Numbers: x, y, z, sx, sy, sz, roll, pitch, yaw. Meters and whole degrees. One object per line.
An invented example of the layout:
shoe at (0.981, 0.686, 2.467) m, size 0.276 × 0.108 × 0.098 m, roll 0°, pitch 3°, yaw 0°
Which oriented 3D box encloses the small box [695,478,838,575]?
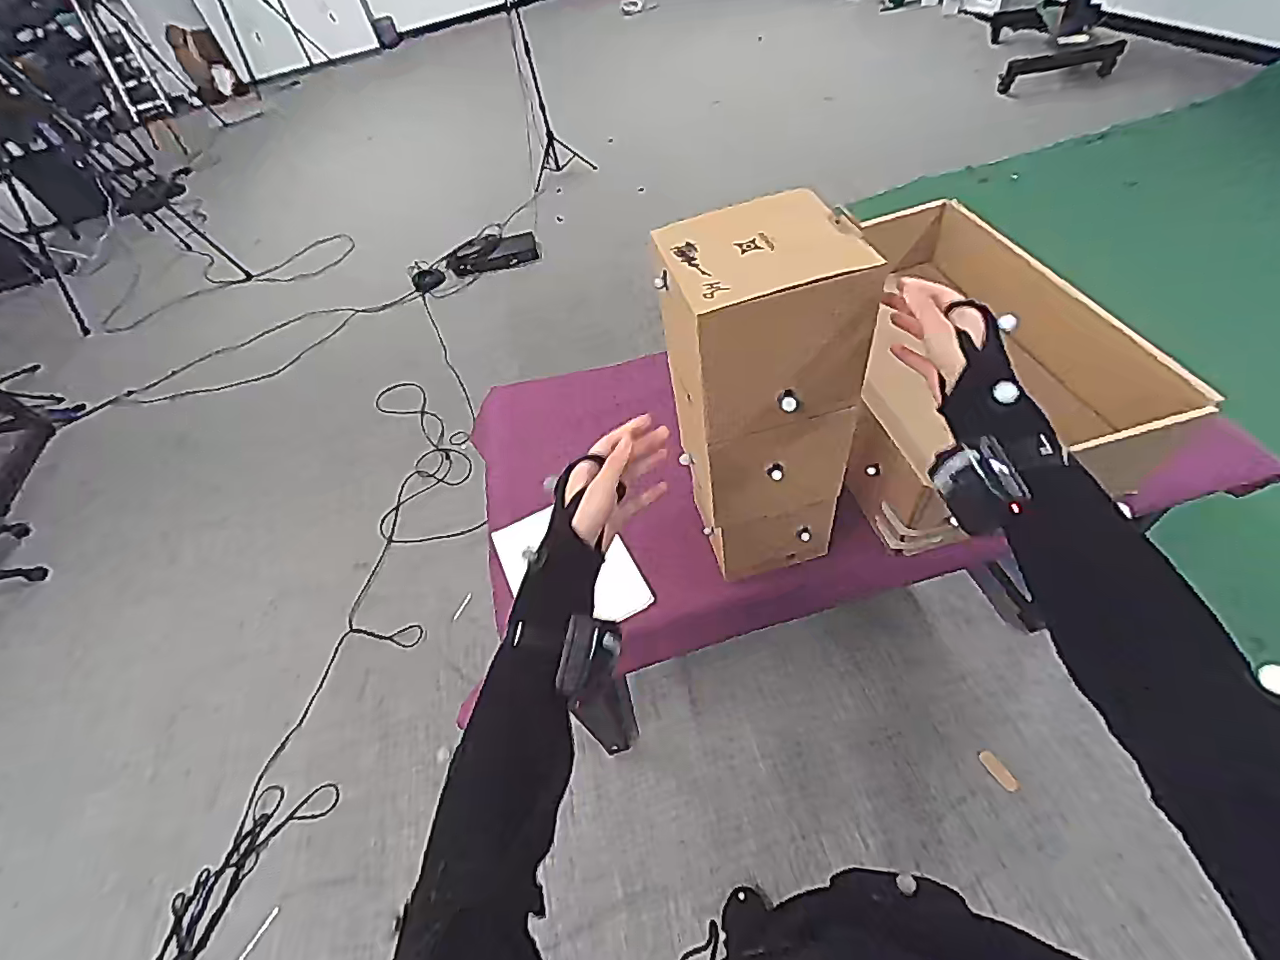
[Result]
small box at (0.184, 0.028, 0.831) m, size 0.168 × 0.176 × 0.179 m, roll -15°, pitch 49°, yaw -1°

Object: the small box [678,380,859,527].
small box at (0.153, -0.065, 0.699) m, size 0.179 × 0.176 × 0.168 m, roll -15°, pitch 49°, yaw 0°

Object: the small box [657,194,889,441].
small box at (0.127, -0.167, 0.573) m, size 0.179 × 0.176 × 0.168 m, roll -15°, pitch 49°, yaw -2°
